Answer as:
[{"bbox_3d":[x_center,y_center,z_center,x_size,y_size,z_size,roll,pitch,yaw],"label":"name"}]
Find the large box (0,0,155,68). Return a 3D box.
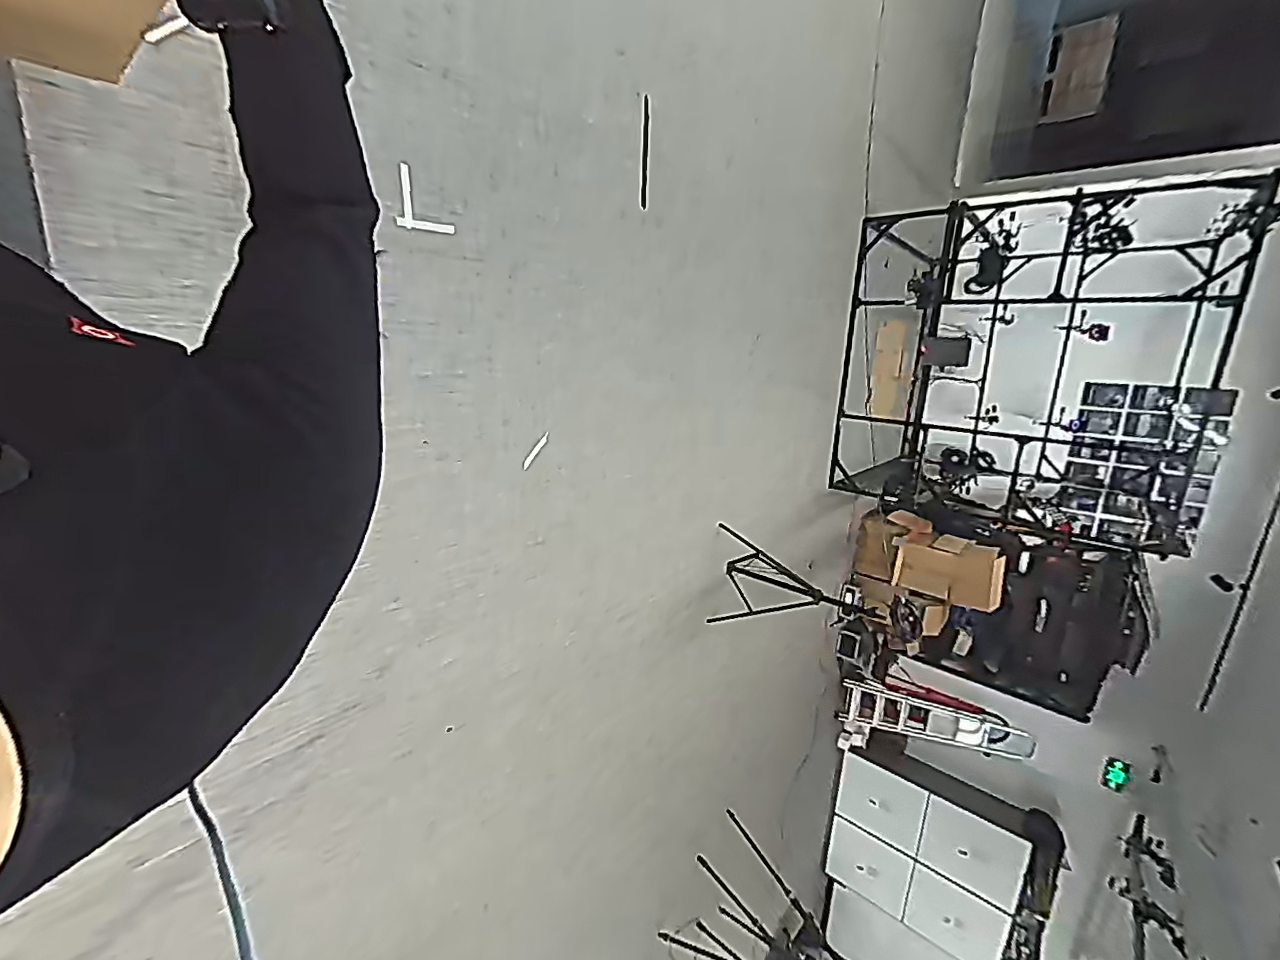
[{"bbox_3d":[-0.520,-0.475,0.248,0.408,0.320,0.320,-17,114,-48],"label":"large box"}]
